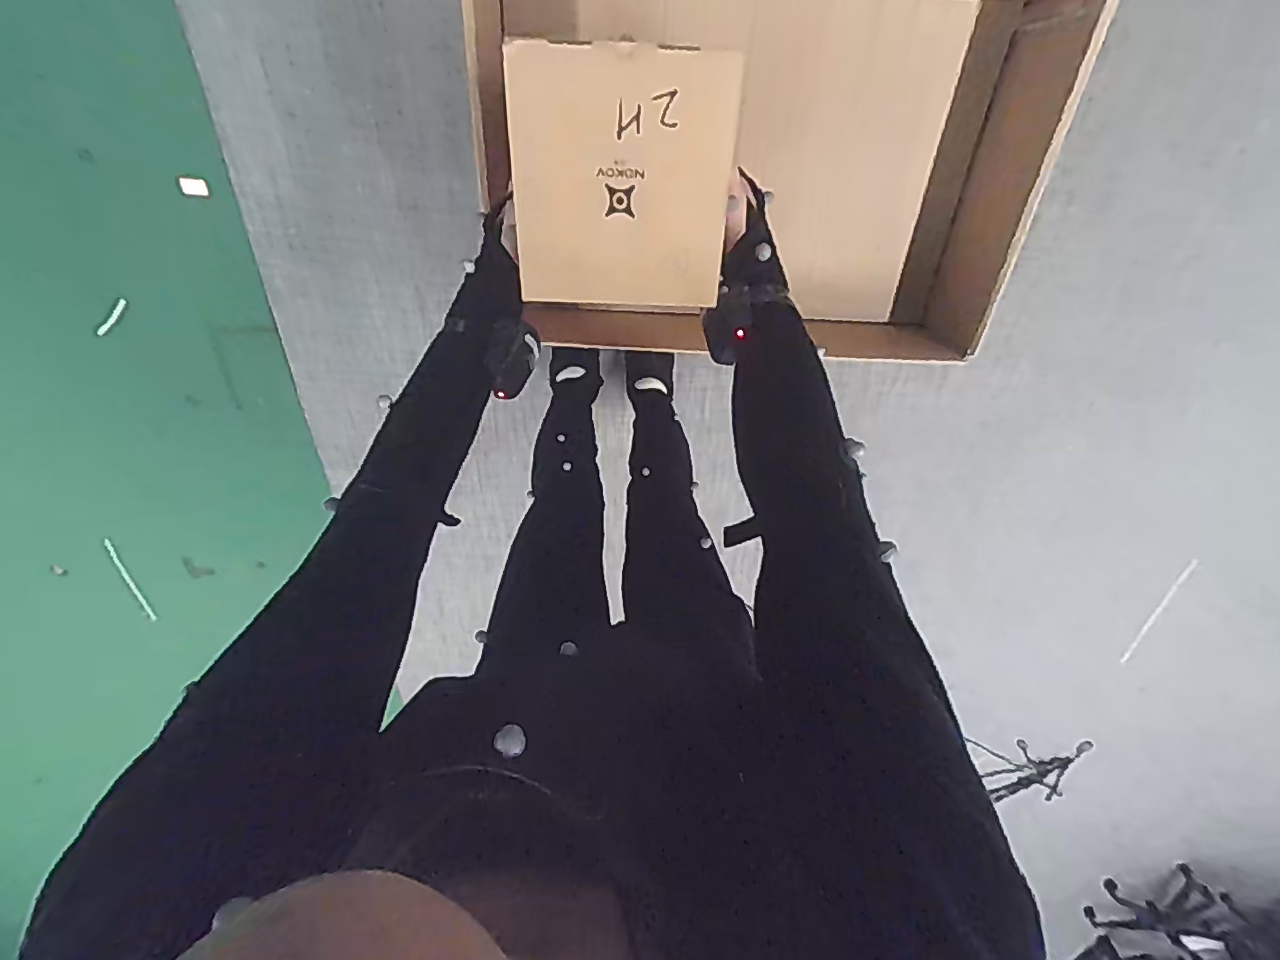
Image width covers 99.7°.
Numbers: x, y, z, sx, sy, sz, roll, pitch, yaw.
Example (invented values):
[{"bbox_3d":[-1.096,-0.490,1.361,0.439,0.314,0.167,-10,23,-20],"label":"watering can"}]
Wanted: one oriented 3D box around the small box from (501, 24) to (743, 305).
[{"bbox_3d":[-0.016,-0.265,0.470,0.168,0.176,0.179,2,121,-2],"label":"small box"}]
